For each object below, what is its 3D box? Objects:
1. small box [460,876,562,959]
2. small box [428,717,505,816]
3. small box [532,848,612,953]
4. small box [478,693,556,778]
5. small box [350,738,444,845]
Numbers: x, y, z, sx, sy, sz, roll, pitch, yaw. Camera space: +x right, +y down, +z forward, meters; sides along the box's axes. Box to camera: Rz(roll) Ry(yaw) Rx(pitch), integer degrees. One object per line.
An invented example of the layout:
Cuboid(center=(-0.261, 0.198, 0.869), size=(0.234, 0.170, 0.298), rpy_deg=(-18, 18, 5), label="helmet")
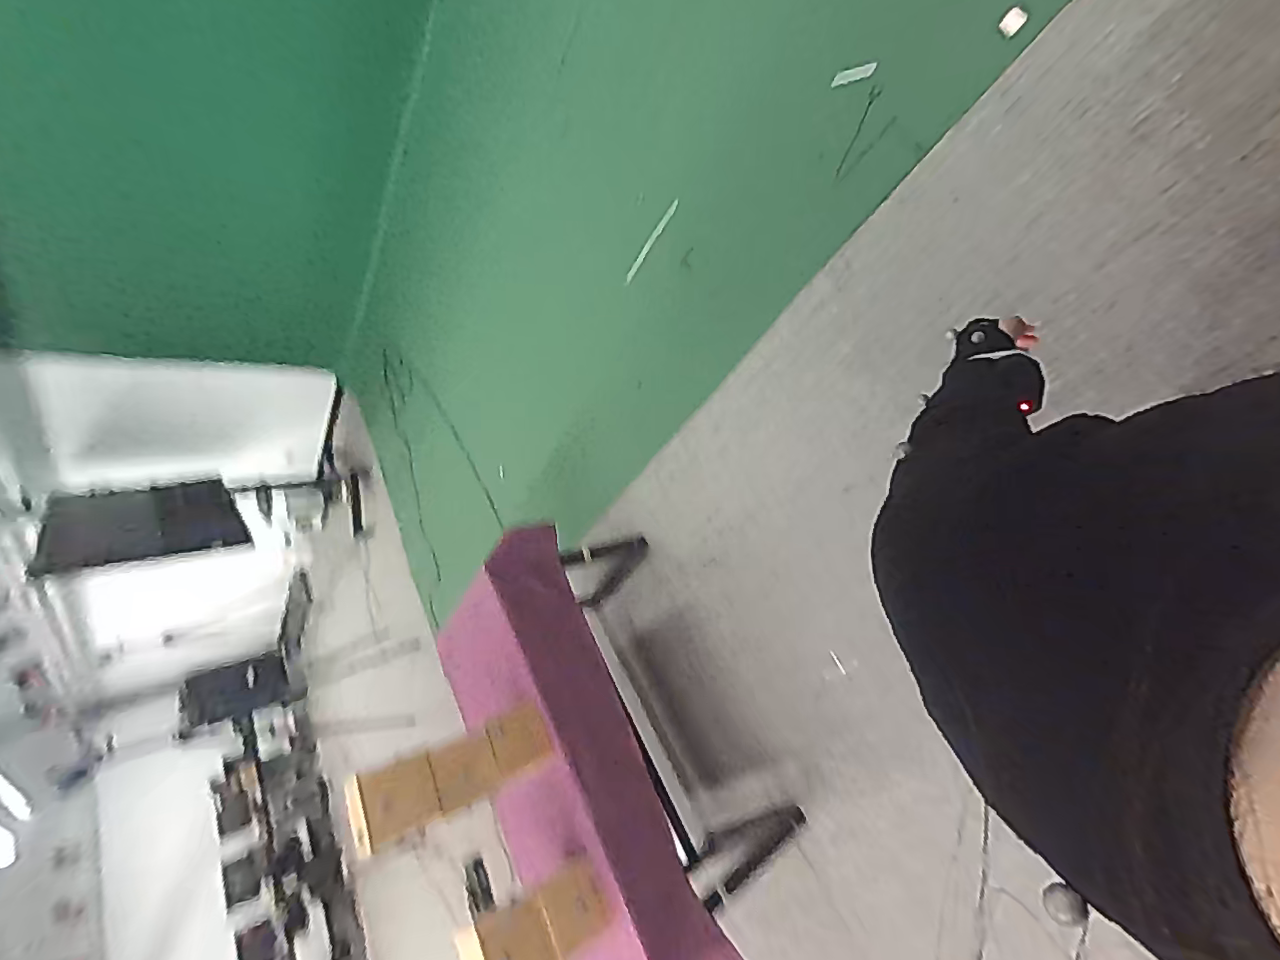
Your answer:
Cuboid(center=(-0.320, 1.134, 1.344), size=(0.168, 0.176, 0.179), rpy_deg=(-48, 60, 39), label="small box")
Cuboid(center=(-0.492, 0.782, 1.484), size=(0.168, 0.176, 0.179), rpy_deg=(-45, 64, 41), label="small box")
Cuboid(center=(-0.197, 1.122, 1.451), size=(0.179, 0.176, 0.168), rpy_deg=(-48, 61, 40), label="small box")
Cuboid(center=(-0.374, 0.761, 1.596), size=(0.168, 0.176, 0.179), rpy_deg=(-49, 60, 40), label="small box")
Cuboid(center=(-0.617, 0.790, 1.376), size=(0.168, 0.176, 0.179), rpy_deg=(-45, 62, 42), label="small box")
